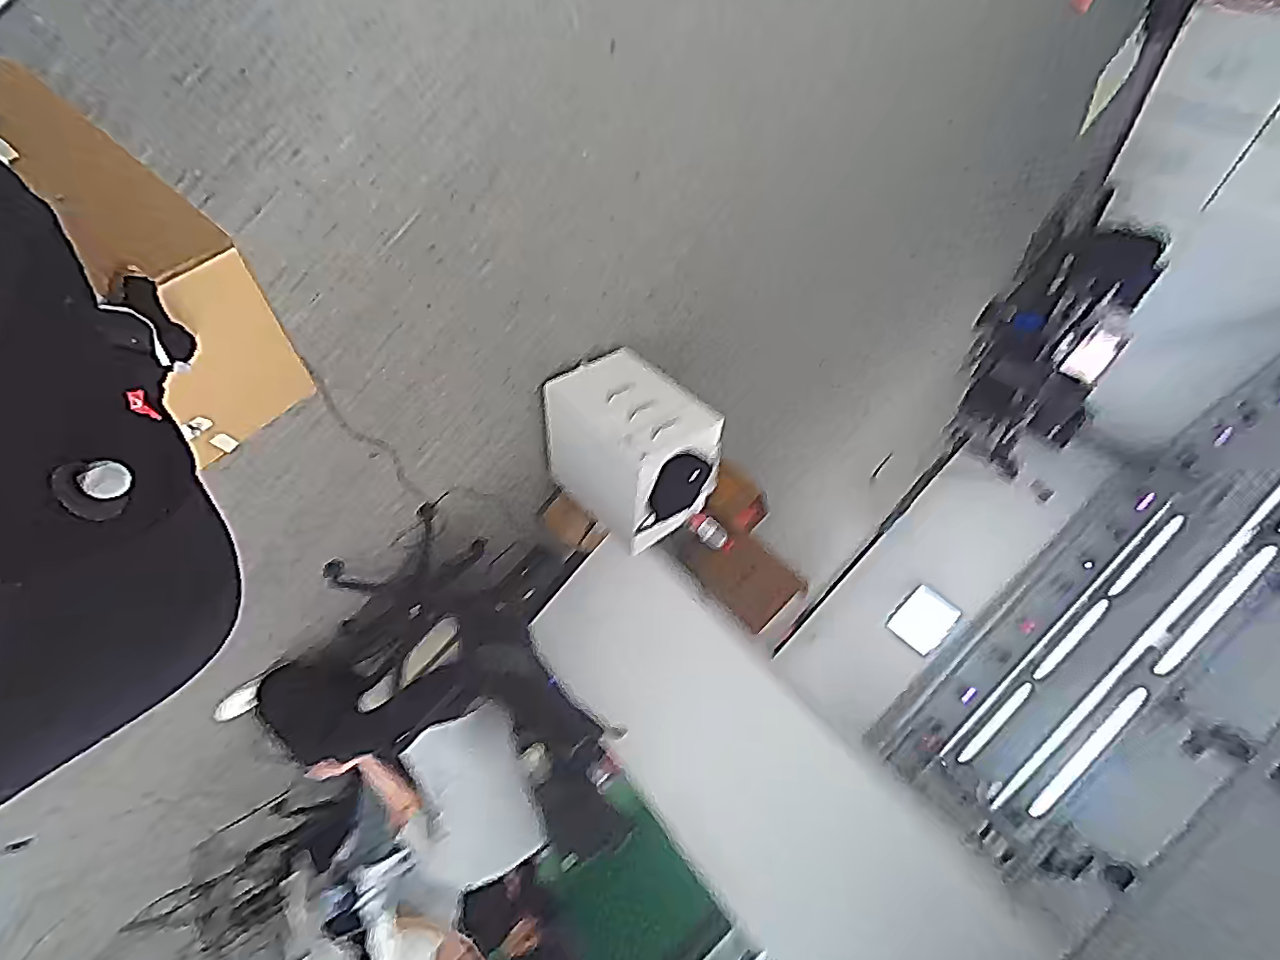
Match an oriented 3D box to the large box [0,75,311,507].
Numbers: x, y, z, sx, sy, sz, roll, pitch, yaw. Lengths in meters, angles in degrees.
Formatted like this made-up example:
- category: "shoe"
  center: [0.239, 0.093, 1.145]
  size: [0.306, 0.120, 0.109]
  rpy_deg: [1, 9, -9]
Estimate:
- category: "large box"
  center: [-0.765, -0.233, 0.735]
  size: [0.320, 0.408, 0.320]
  rpy_deg: [-50, 173, -26]
